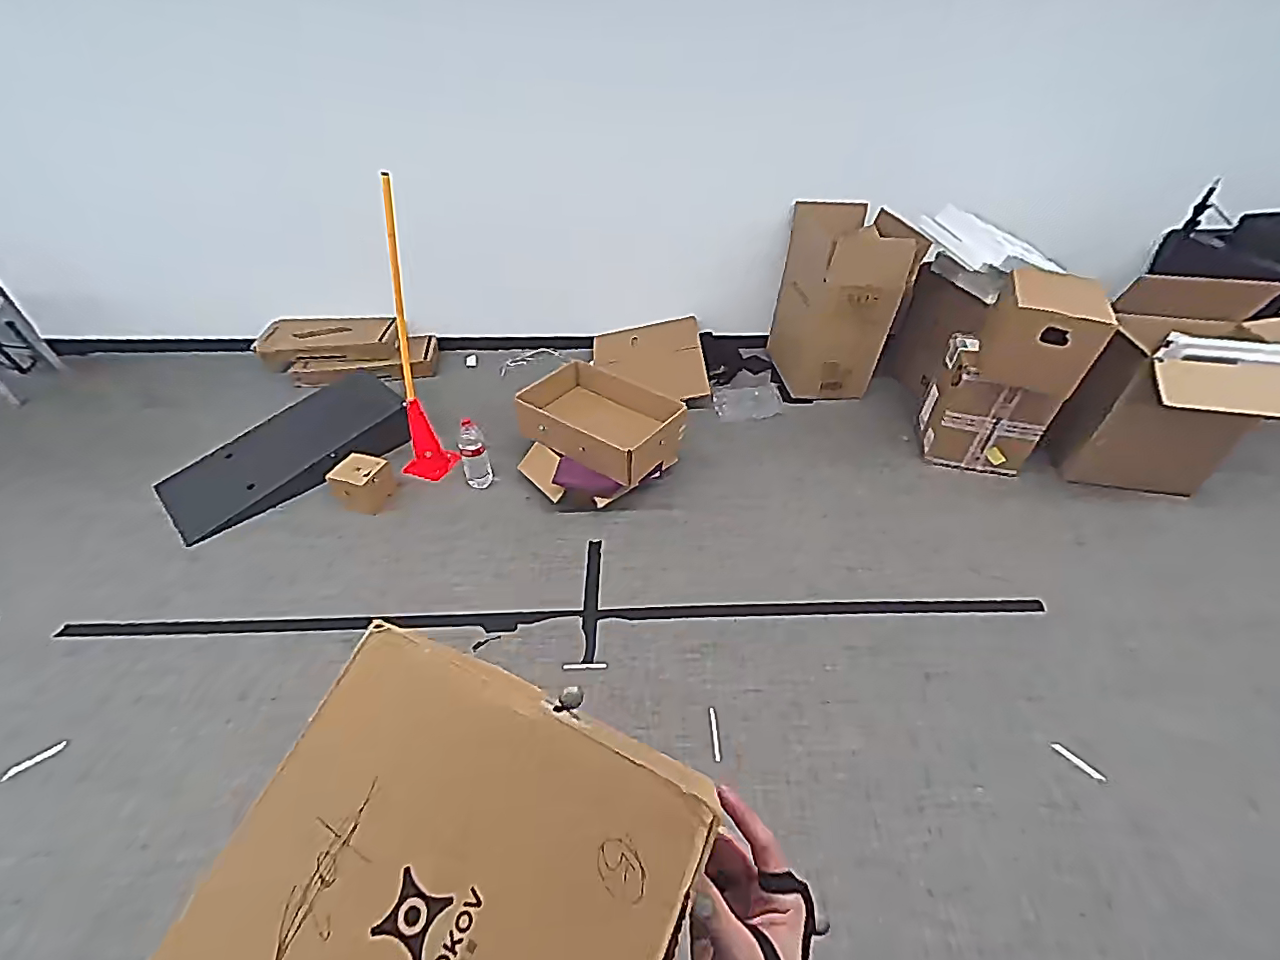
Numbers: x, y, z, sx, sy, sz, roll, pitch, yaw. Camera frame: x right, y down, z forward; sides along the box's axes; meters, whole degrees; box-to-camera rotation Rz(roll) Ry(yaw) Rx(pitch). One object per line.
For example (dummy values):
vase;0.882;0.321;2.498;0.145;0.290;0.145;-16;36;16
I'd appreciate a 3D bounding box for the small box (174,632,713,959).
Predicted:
small box;-0.073;0.203;0.285;0.179;0.176;0.168;20;67;16
